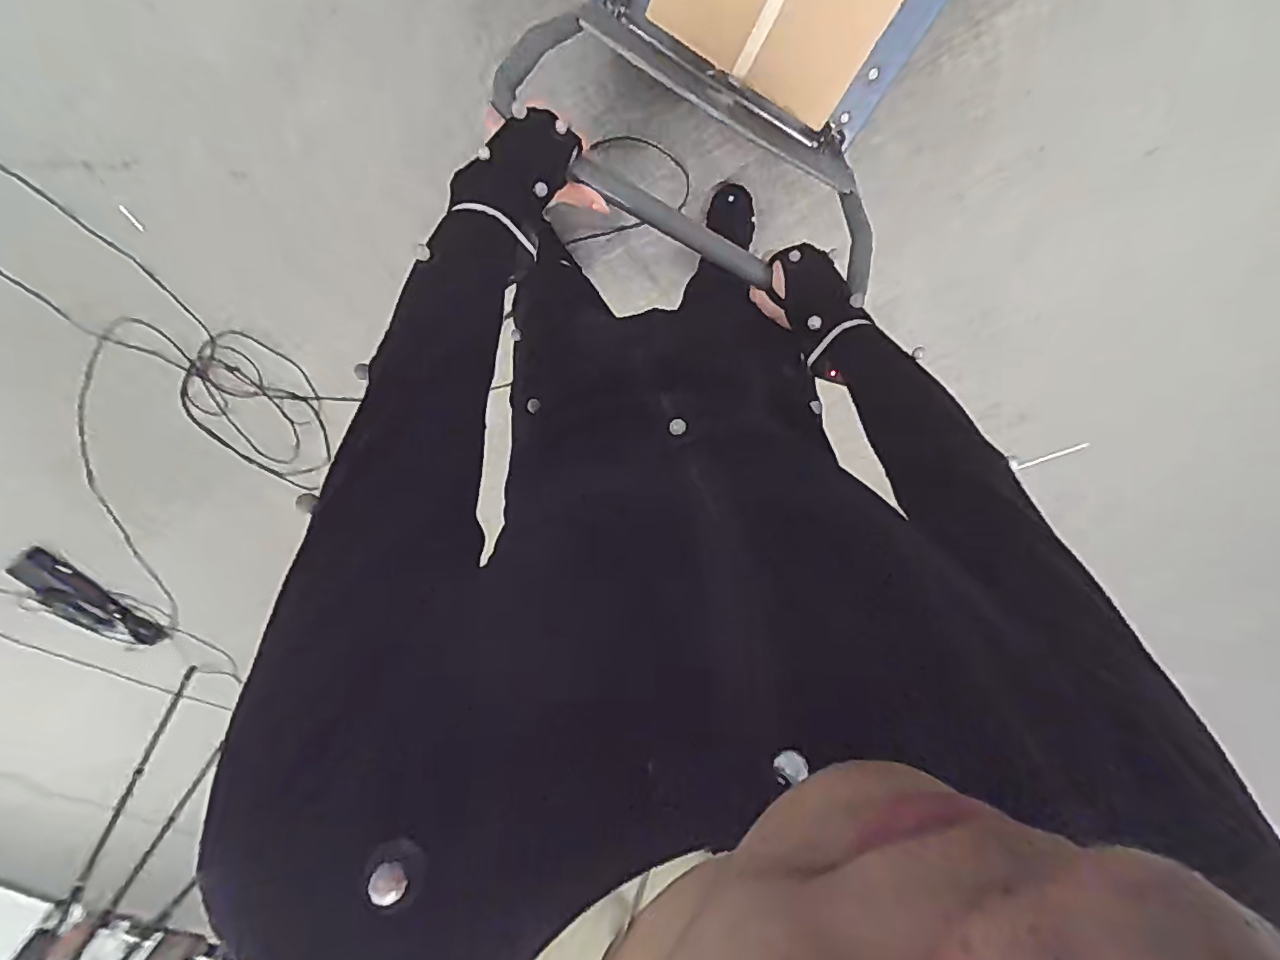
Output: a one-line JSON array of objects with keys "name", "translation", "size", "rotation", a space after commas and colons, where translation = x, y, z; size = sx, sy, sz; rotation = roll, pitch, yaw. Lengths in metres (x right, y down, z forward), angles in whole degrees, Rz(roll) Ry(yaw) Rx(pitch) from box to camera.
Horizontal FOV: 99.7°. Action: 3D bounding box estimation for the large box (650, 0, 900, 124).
[{"name": "large box", "translation": [0.251, -0.833, 0.795], "size": [0.320, 0.320, 0.408], "rotation": [24, 131, -12]}]
